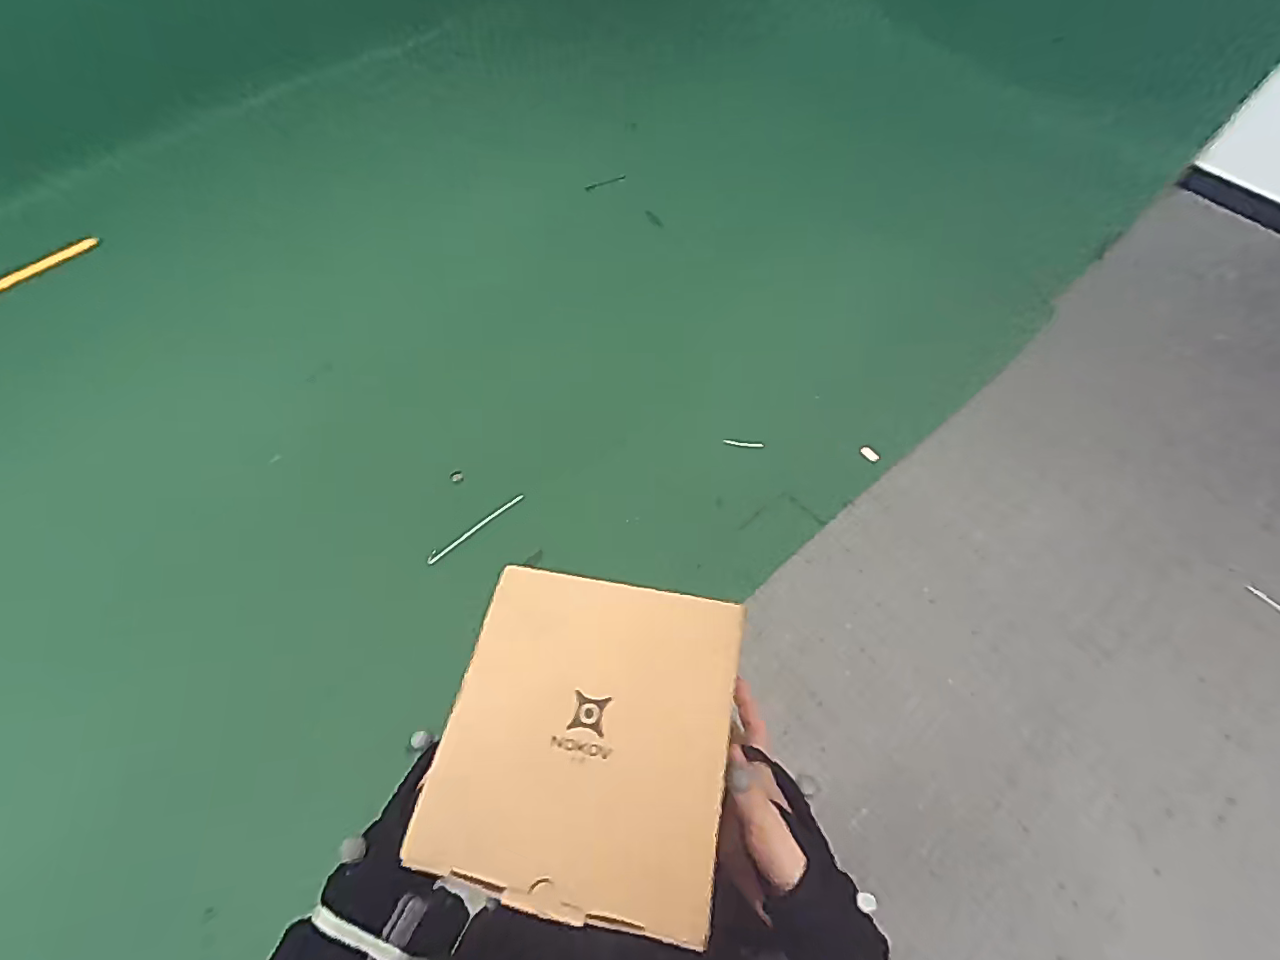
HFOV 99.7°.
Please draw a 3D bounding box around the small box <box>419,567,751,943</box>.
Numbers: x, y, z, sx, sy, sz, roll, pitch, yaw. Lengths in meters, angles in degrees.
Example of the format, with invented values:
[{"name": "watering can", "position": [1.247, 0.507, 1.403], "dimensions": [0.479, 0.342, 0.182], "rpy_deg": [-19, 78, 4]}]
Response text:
[{"name": "small box", "position": [-0.020, 0.186, 0.389], "dimensions": [0.168, 0.176, 0.179], "rpy_deg": [8, 60, 10]}]
